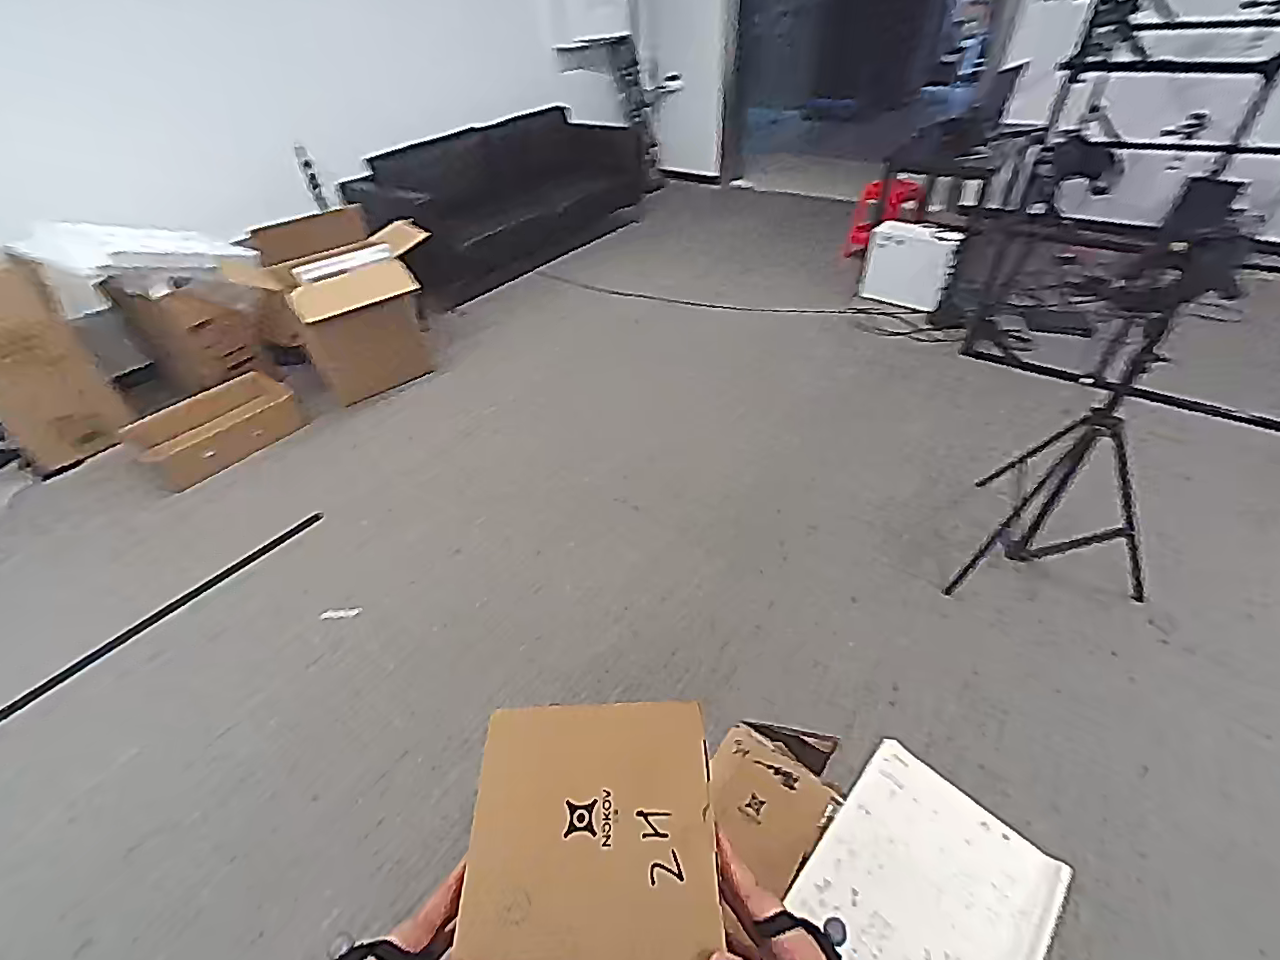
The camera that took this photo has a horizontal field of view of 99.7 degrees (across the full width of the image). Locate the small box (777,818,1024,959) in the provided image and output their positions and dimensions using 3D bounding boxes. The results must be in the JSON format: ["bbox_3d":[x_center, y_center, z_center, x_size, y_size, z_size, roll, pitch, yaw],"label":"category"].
[{"bbox_3d":[0.269,0.524,0.593,0.168,0.176,0.179,33,55,31],"label":"small box"}]

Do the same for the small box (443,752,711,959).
[{"bbox_3d":[-0.039,0.332,0.431,0.179,0.176,0.168,-2,47,0],"label":"small box"}]
